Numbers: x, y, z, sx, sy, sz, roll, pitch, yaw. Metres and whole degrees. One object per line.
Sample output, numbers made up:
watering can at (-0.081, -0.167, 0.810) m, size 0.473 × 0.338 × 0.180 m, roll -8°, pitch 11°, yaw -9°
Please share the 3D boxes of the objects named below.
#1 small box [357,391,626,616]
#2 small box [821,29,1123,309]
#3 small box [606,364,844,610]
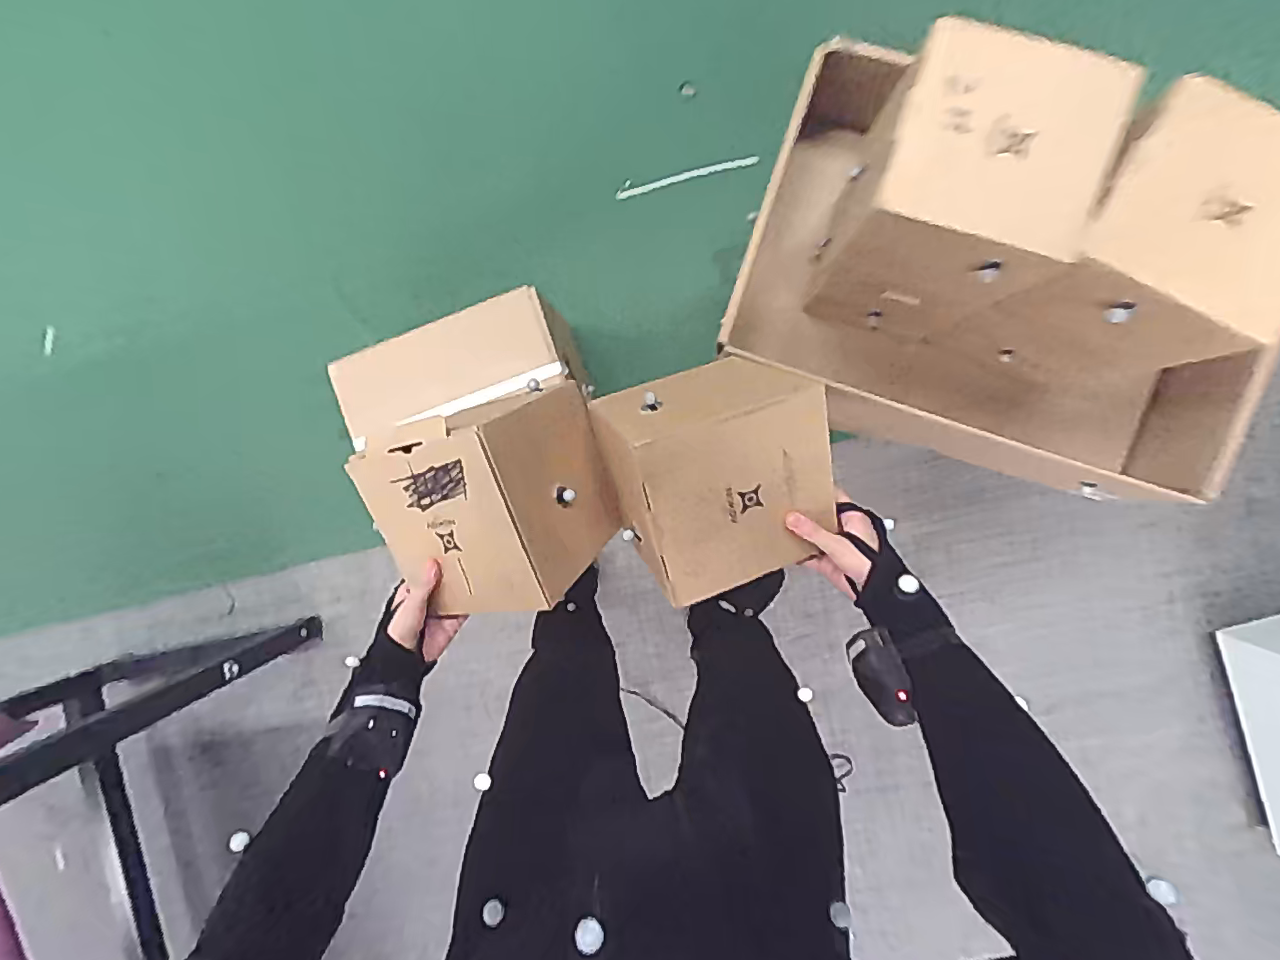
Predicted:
small box at (-0.137, 0.017, 0.554) m, size 0.168 × 0.176 × 0.179 m, roll -9°, pitch 110°, yaw 28°
small box at (0.308, -0.288, 0.544) m, size 0.179 × 0.176 × 0.168 m, roll 18°, pitch 93°, yaw 4°
small box at (0.074, -0.007, 0.538) m, size 0.179 × 0.176 × 0.168 m, roll -18°, pitch 115°, yaw -12°
